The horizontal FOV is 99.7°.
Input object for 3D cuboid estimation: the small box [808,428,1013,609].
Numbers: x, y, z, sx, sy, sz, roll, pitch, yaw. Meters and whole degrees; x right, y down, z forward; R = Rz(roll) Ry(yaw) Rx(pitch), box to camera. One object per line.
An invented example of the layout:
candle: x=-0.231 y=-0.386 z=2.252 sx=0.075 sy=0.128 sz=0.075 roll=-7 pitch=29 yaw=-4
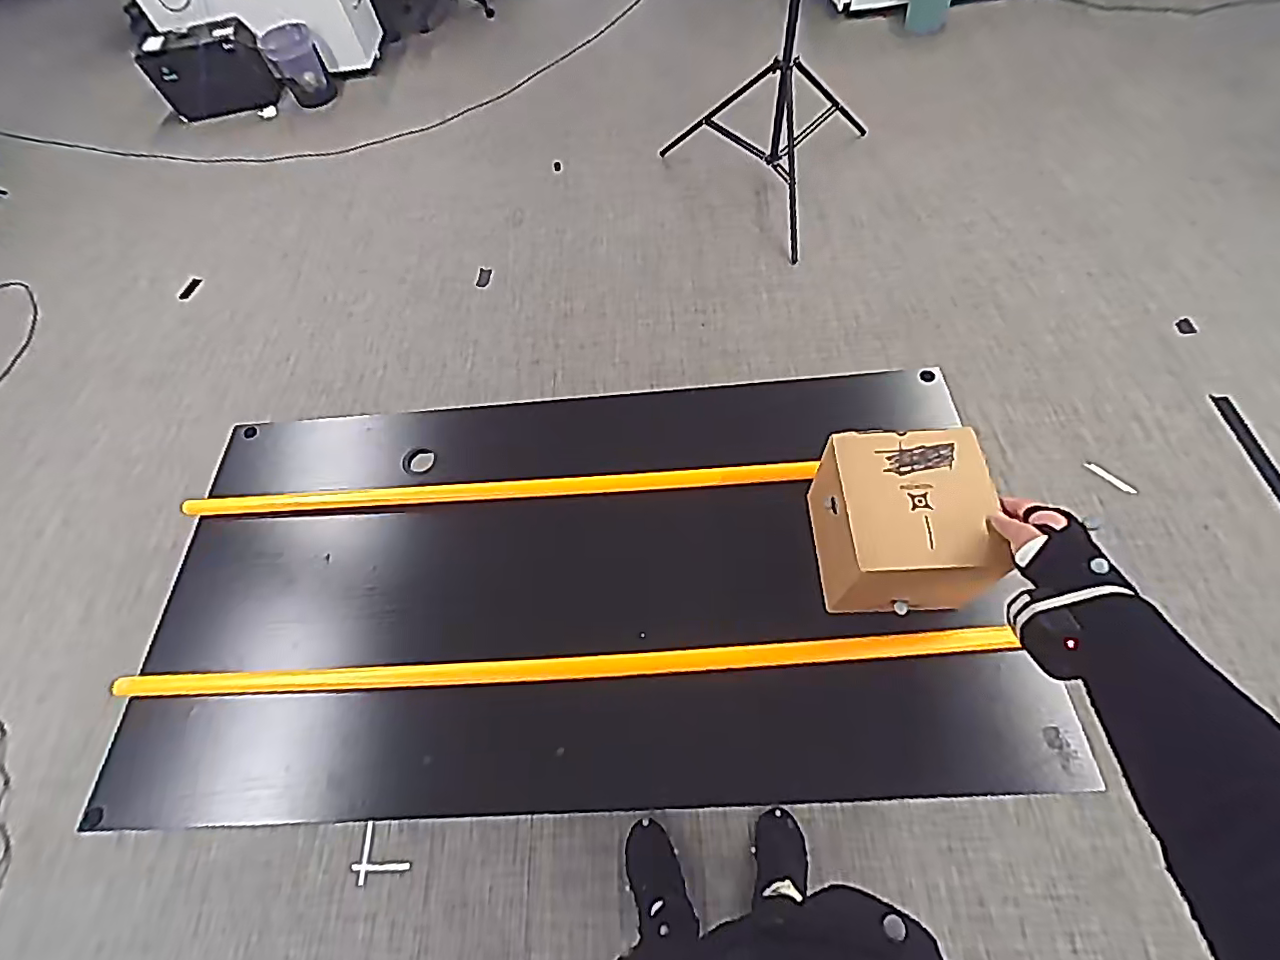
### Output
small box: x=0.319 y=0.054 z=0.683 sx=0.168 sy=0.176 sz=0.179 roll=-3 pitch=62 yaw=5
